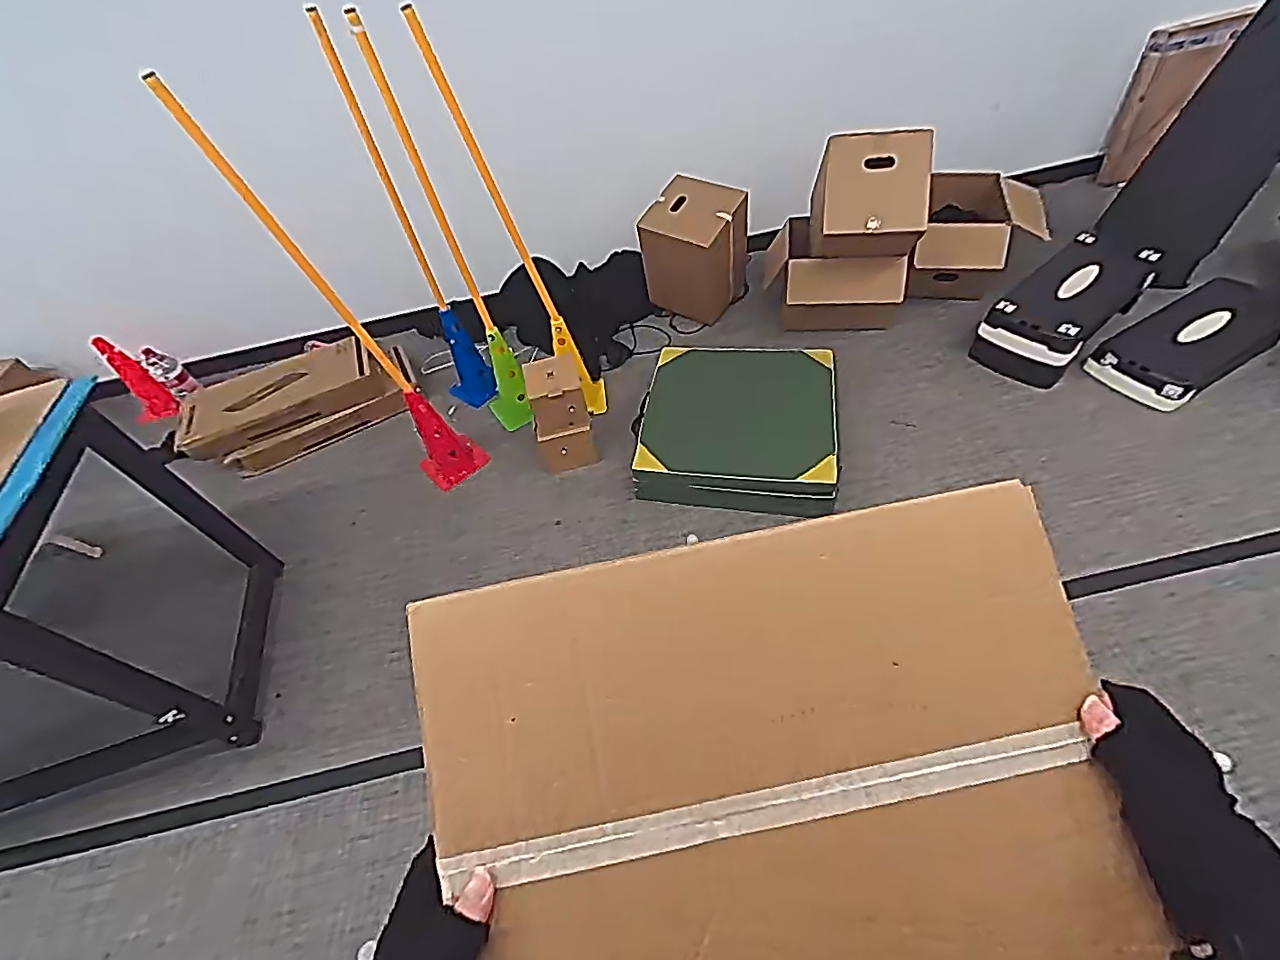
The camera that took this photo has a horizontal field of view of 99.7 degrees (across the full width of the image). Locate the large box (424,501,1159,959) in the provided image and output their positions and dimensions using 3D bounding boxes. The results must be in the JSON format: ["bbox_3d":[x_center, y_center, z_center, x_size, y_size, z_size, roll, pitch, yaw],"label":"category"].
[{"bbox_3d":[0.087,0.227,0.478,0.408,0.320,0.320,-12,79,-1],"label":"large box"}]
